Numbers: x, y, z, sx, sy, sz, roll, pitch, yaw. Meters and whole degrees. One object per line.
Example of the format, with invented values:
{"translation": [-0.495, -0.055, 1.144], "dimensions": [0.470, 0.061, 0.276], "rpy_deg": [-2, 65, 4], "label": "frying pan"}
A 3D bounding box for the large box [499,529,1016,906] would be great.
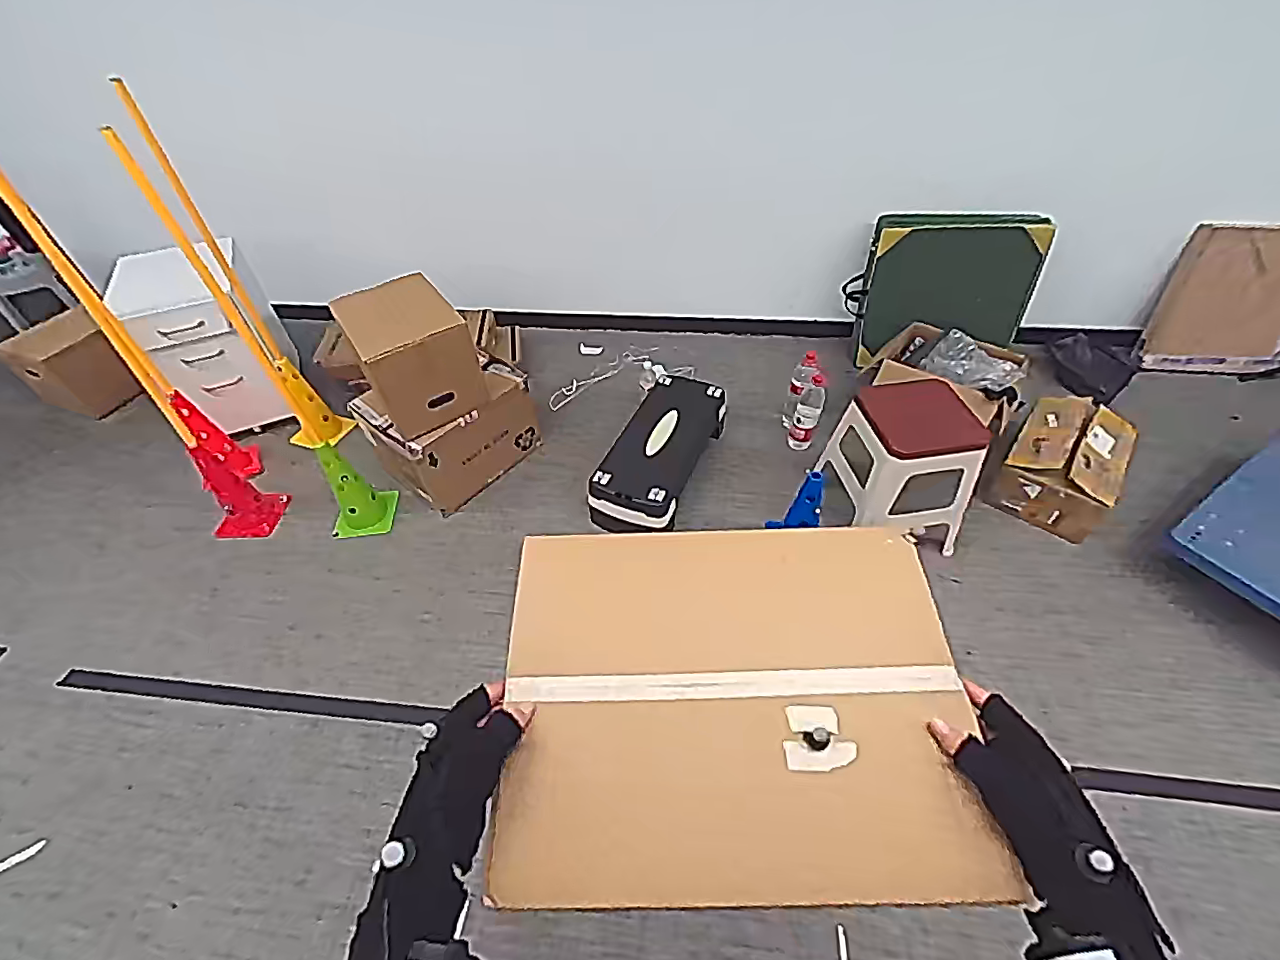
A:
{"translation": [0.087, 0.270, 0.614], "dimensions": [0.408, 0.320, 0.320], "rpy_deg": [-2, 56, 1], "label": "large box"}
